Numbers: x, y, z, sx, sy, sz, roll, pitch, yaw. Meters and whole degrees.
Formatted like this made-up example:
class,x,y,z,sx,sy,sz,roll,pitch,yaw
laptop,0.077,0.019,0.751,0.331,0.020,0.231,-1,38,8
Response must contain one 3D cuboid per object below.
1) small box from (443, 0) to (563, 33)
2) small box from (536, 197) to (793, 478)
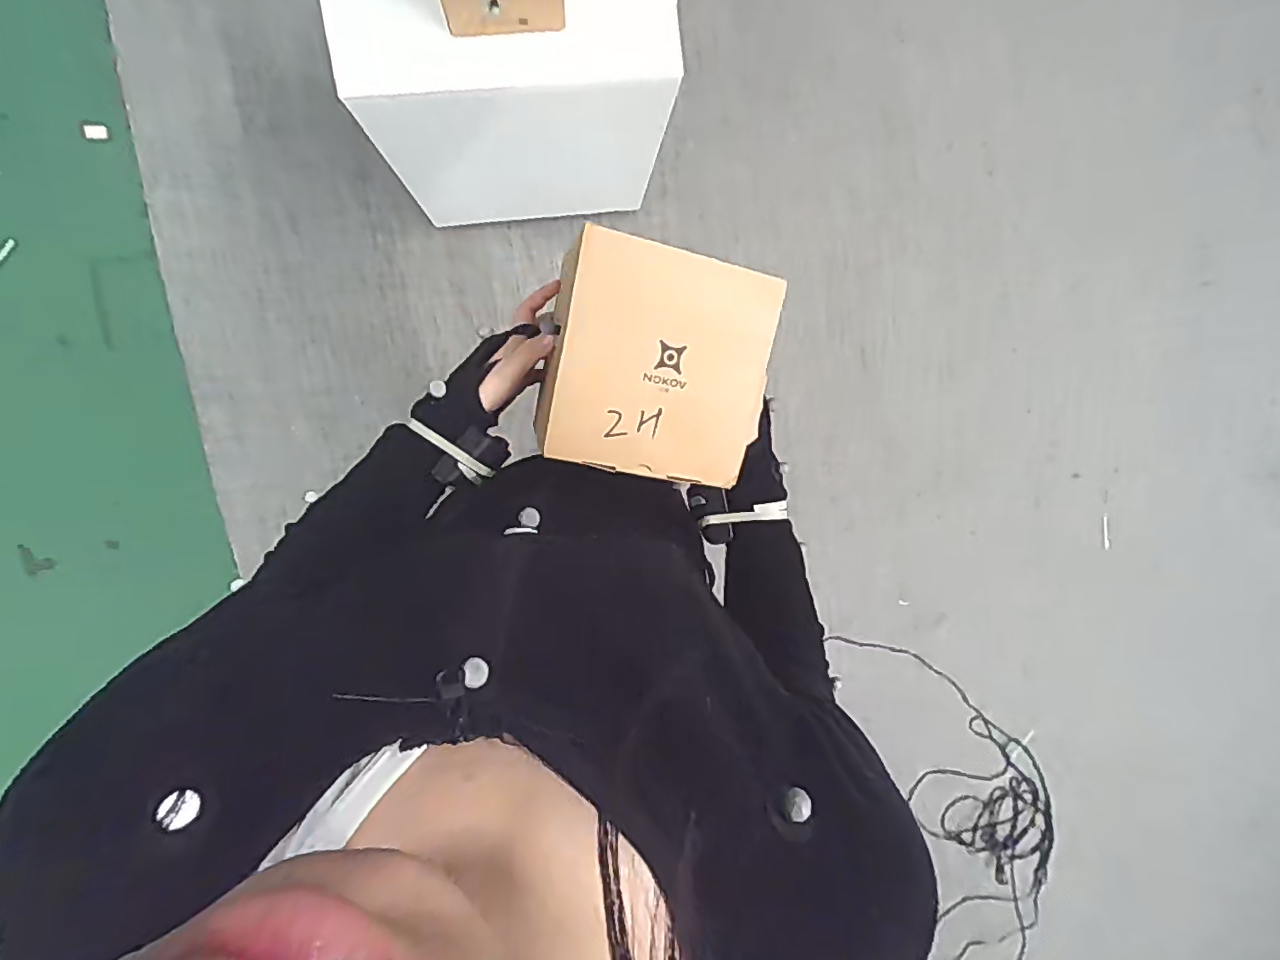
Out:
class,x,y,z,sx,sy,sz,roll,pitch,yaw
small box,-0.191,-0.721,0.686,0.168,0.176,0.179,-9,97,-6
small box,0.004,-0.116,0.480,0.168,0.176,0.179,10,102,-15
